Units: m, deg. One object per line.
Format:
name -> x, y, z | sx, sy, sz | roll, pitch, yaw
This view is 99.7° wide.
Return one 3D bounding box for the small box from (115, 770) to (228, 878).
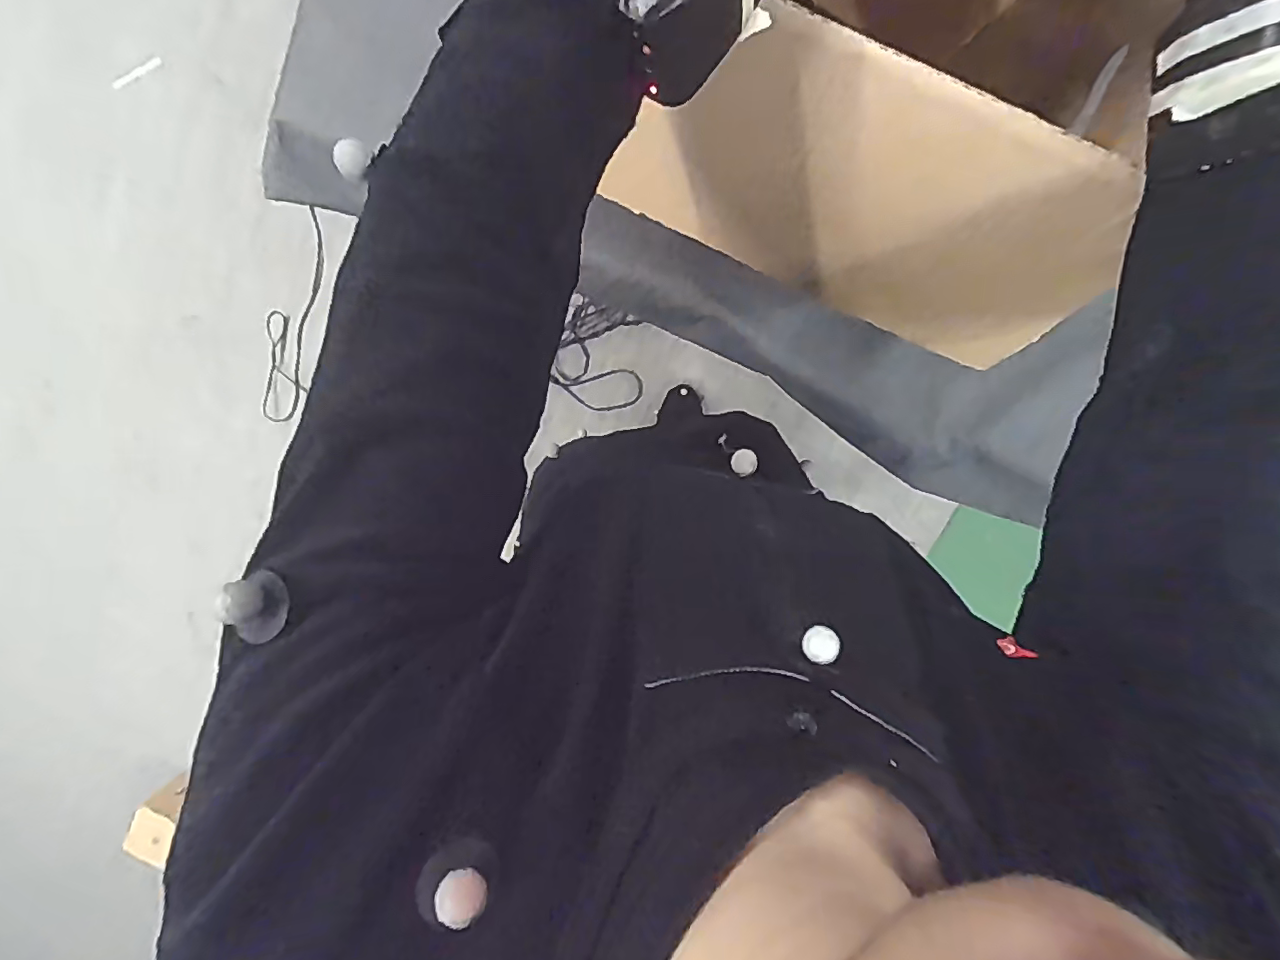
small box -> -1.366, 1.001, 1.590 | 0.168, 0.176, 0.179 | 30, 103, -1
